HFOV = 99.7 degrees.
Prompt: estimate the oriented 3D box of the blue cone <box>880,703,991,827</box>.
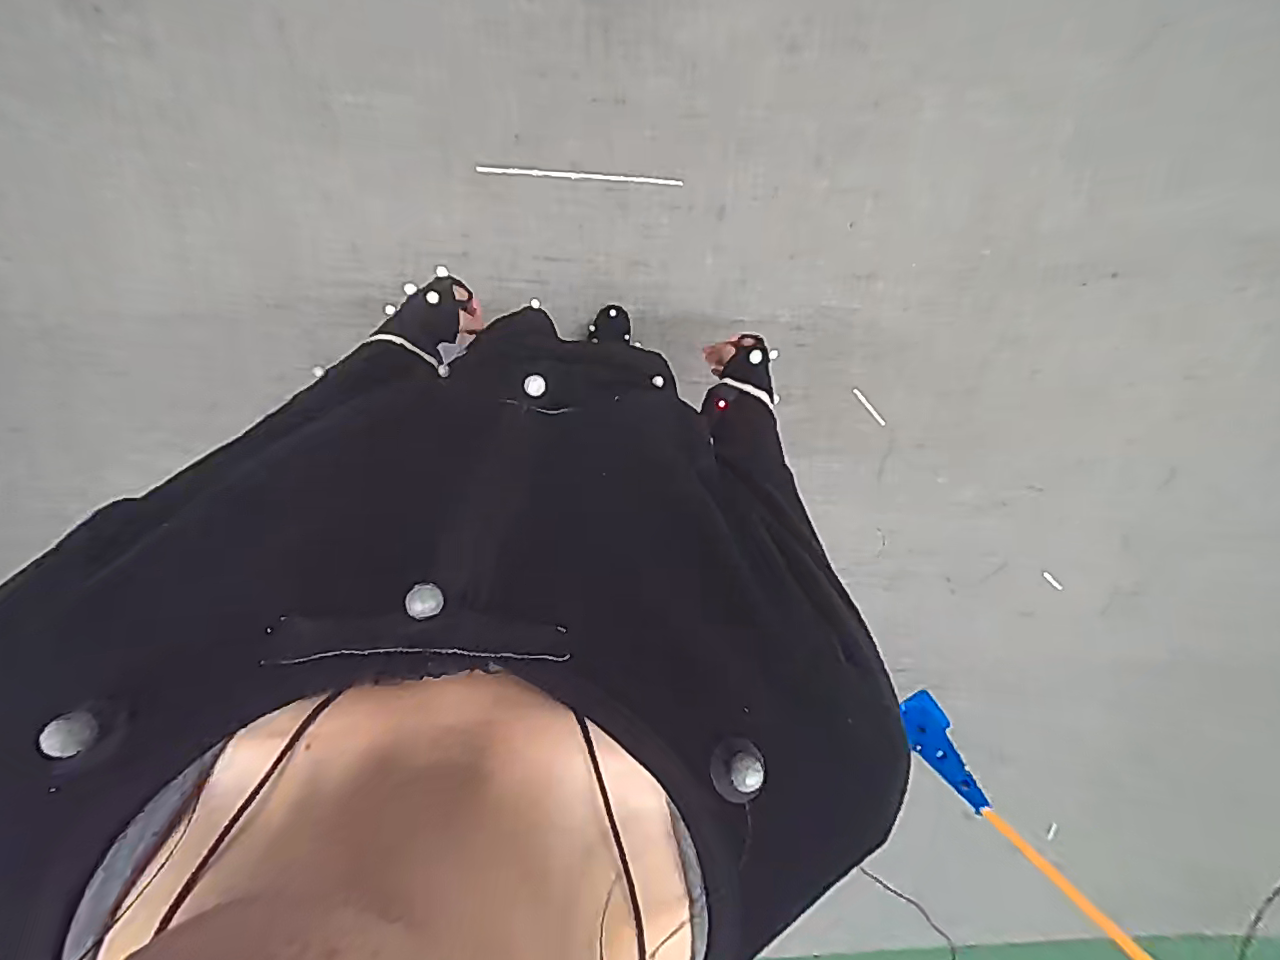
[{"bbox_3d":[0.943,0.901,1.686,0.193,0.380,0.192,-39,105,5],"label":"blue cone"}]
